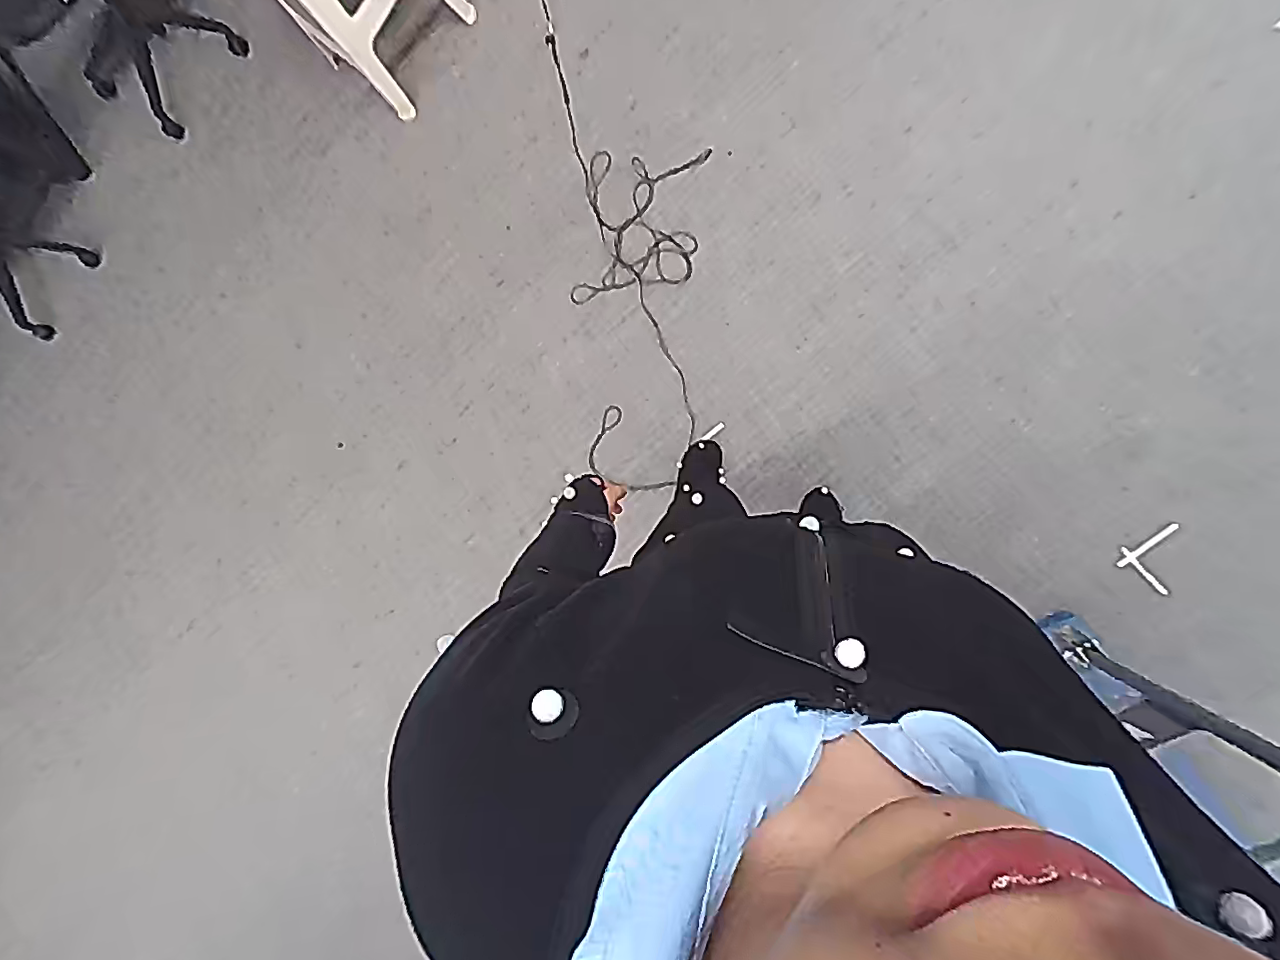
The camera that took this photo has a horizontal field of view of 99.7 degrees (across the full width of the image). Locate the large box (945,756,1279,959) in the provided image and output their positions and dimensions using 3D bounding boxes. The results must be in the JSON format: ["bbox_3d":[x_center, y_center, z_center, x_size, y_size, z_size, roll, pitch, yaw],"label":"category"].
[{"bbox_3d":[0.888,0.811,1.019,0.408,0.320,0.320,-32,85,11],"label":"large box"}]
